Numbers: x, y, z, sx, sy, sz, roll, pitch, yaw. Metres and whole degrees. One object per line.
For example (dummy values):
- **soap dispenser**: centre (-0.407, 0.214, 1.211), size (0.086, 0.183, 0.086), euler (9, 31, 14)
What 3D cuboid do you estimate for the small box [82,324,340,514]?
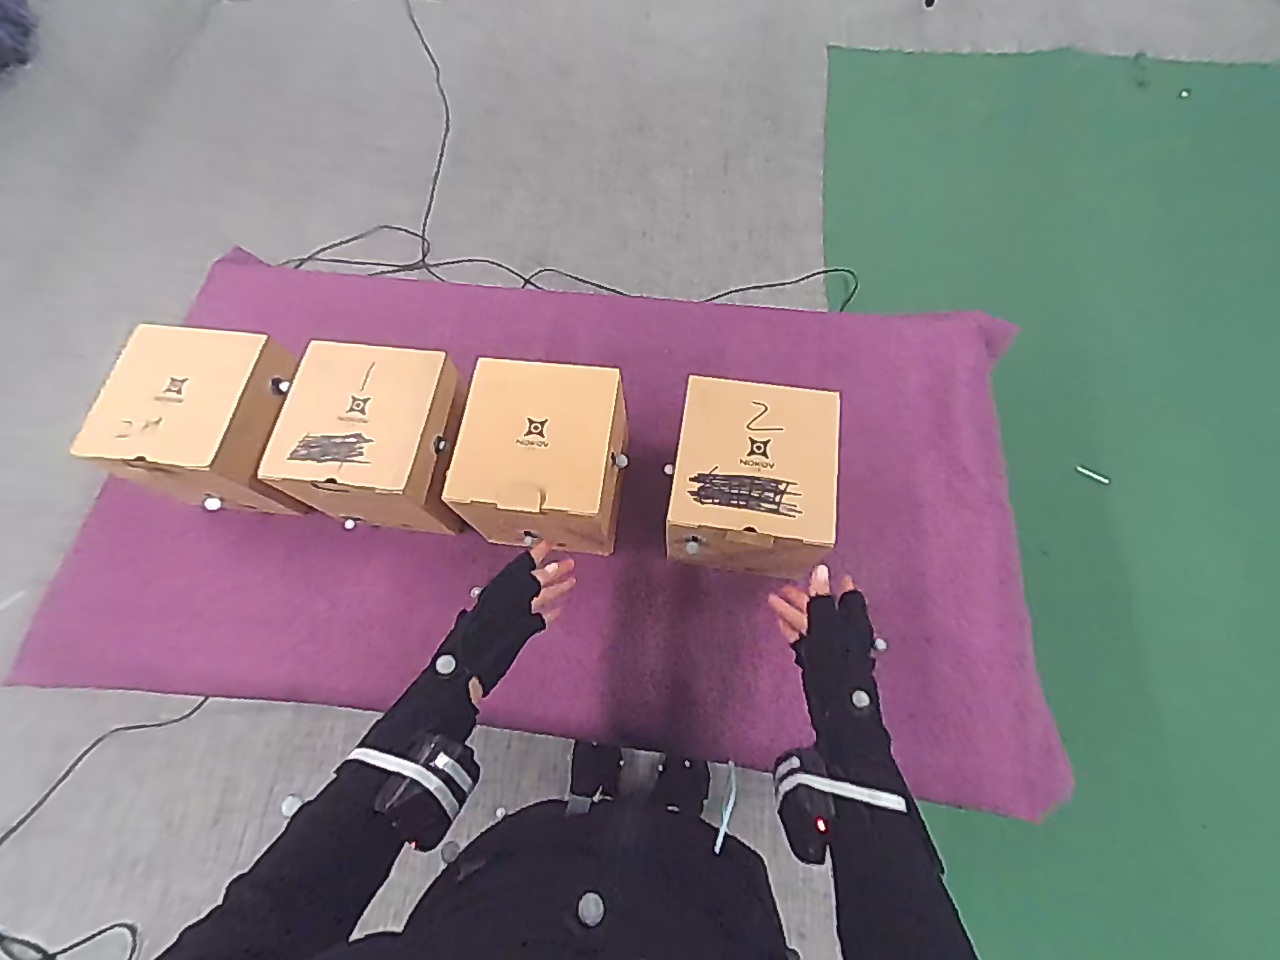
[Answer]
- **small box**: centre (-0.522, -0.071, 0.692), size (0.168, 0.176, 0.179), euler (6, 70, 5)
